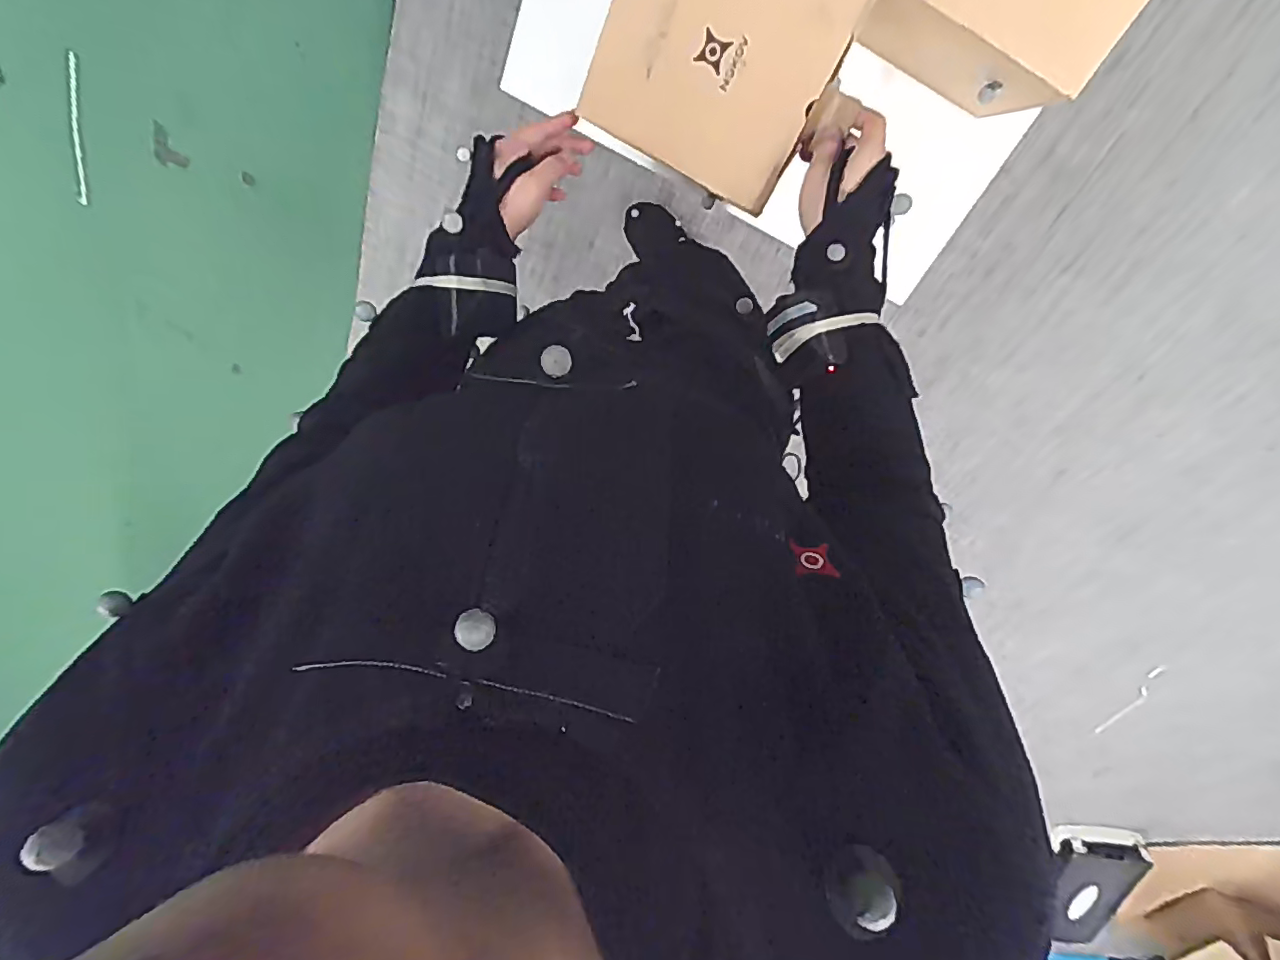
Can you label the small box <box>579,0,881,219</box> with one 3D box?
[{"bbox_3d":[0.070,-0.357,0.480,0.179,0.176,0.168,25,117,-6],"label":"small box"}]
